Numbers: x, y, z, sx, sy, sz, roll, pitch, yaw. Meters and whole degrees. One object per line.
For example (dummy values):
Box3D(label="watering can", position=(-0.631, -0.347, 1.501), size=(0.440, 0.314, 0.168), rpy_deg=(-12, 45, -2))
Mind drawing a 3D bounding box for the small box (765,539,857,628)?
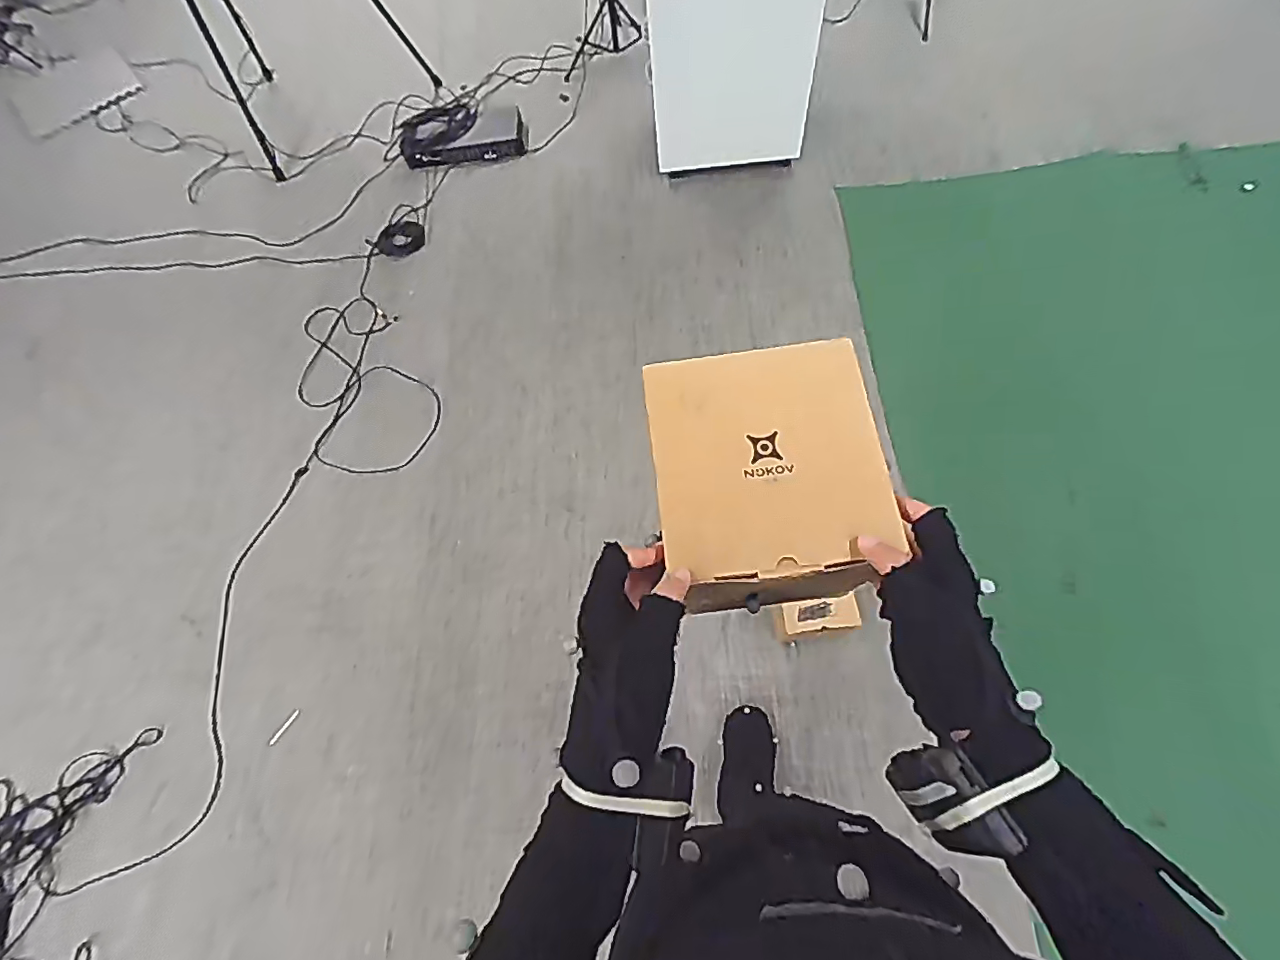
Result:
Box3D(label="small box", position=(0.402, 0.256, 1.299), size=(0.168, 0.176, 0.179), rpy_deg=(-7, 66, 4))
